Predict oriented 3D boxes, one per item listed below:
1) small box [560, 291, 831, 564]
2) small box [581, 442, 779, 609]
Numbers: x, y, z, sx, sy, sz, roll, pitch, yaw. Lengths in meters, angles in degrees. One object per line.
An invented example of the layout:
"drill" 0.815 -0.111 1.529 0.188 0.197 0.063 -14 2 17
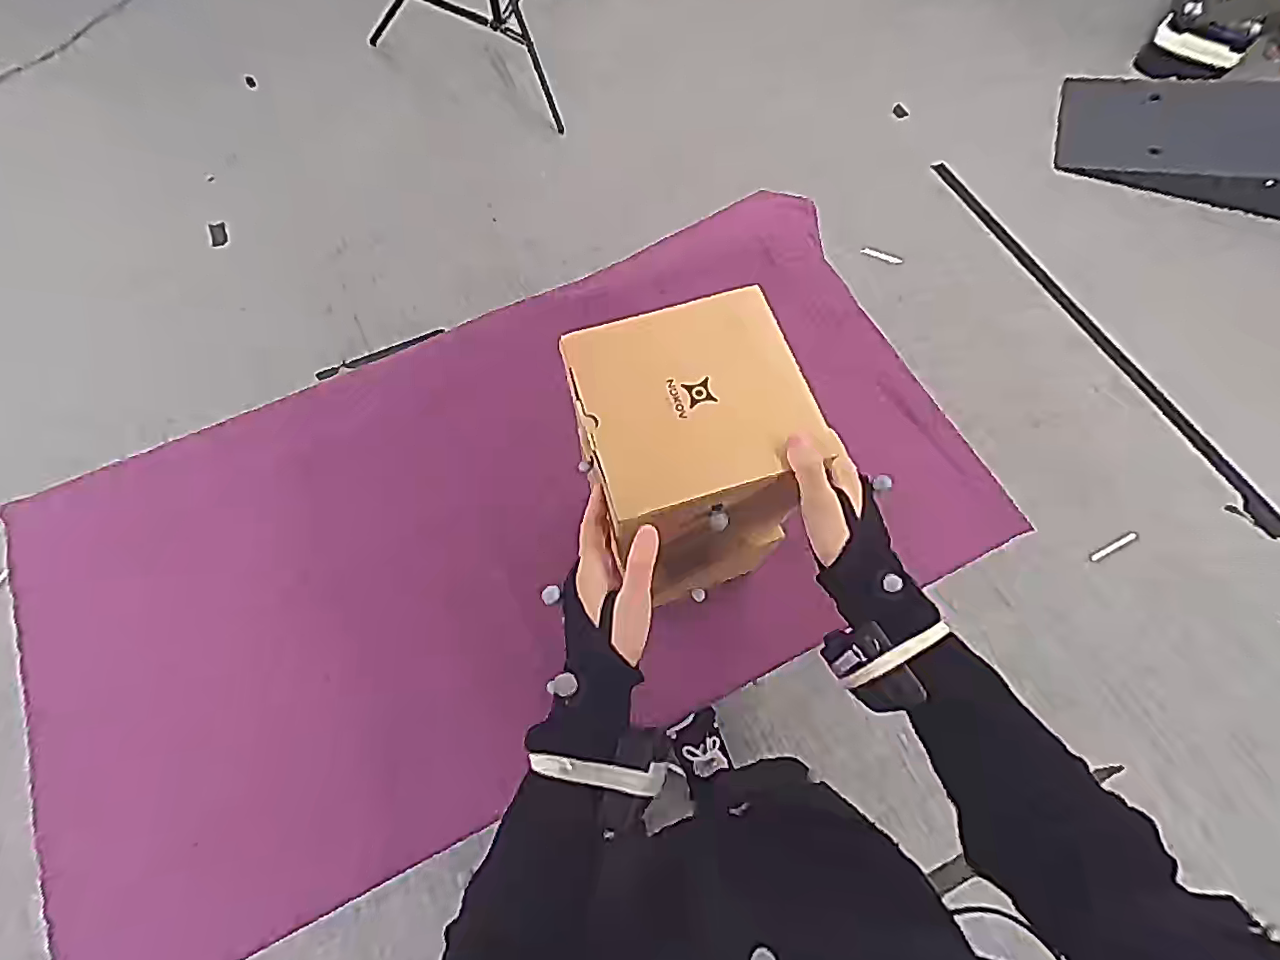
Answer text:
"small box" 0.039 -0.036 0.495 0.179 0.176 0.168 -17 70 -5
"small box" 0.038 0.037 0.641 0.168 0.176 0.179 -19 71 -6
